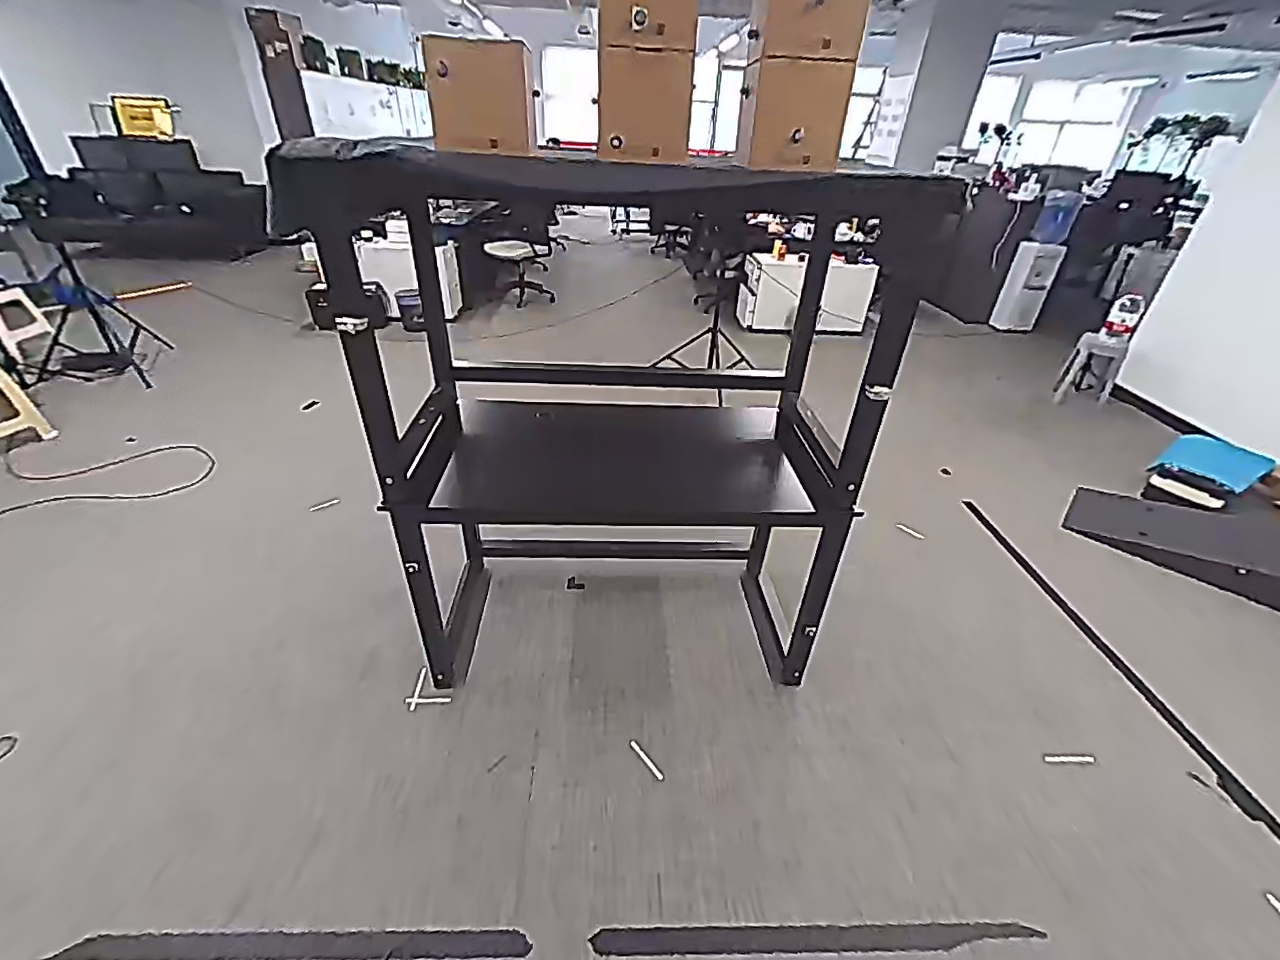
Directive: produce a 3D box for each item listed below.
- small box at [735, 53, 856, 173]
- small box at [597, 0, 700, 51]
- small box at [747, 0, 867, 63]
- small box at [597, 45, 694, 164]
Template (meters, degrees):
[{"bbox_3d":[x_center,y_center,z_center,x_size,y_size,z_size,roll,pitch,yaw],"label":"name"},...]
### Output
[{"bbox_3d":[0.280,-0.684,1.020,0.168,0.176,0.179,0,32,-2],"label":"small box"},{"bbox_3d":[0.014,-0.826,0.921,0.168,0.176,0.179,1,32,-2],"label":"small box"},{"bbox_3d":[0.287,-0.823,0.933,0.168,0.176,0.179,2,33,-1],"label":"small box"},{"bbox_3d":[0.005,-0.687,1.004,0.168,0.176,0.179,1,31,-3],"label":"small box"}]
